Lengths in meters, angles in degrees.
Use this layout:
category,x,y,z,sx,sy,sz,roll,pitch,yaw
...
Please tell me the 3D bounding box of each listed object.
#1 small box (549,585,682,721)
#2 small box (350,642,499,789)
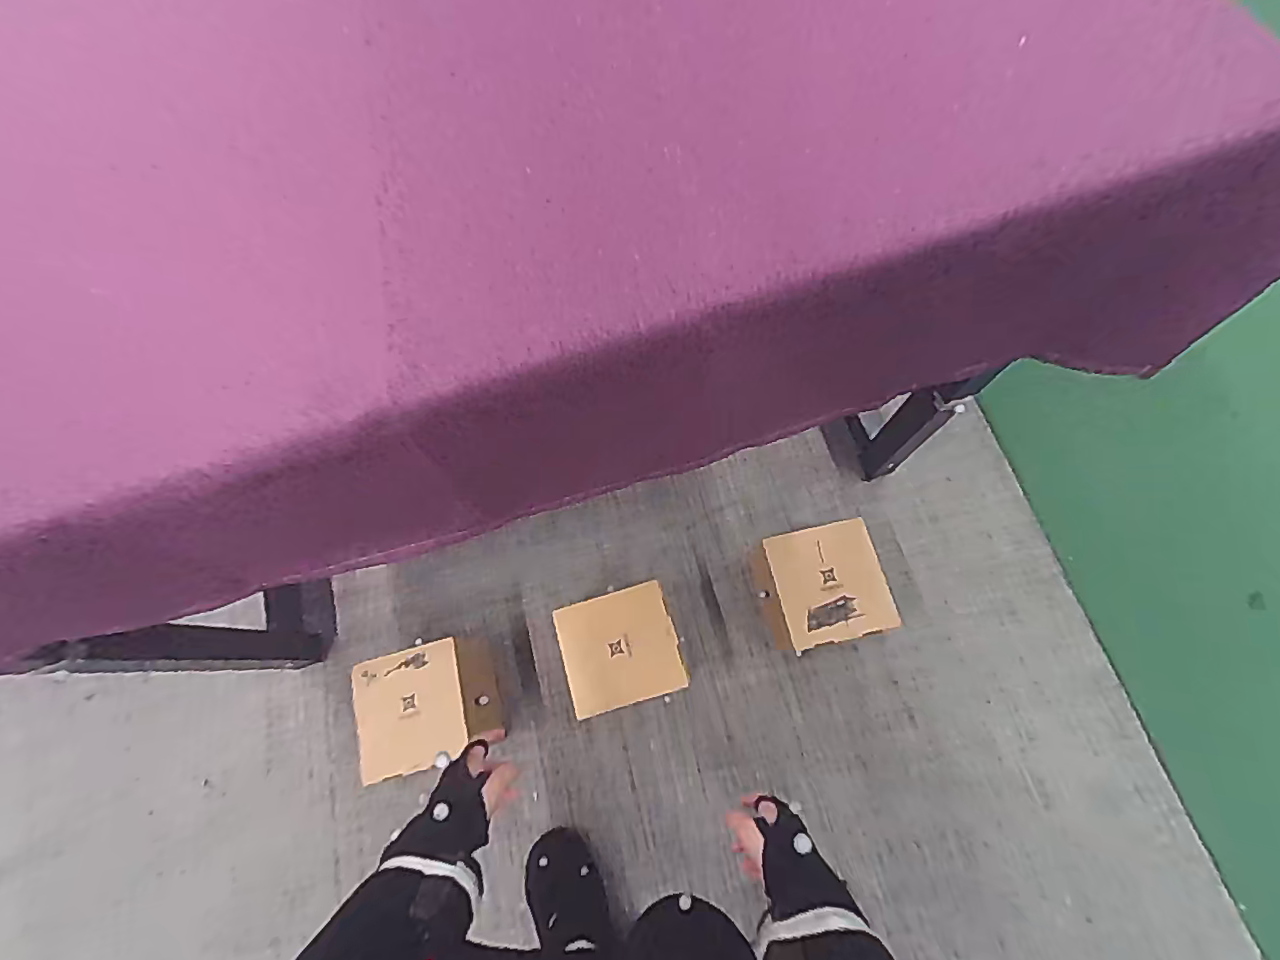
category,x,y,z,sx,sy,sz,roll,pitch,yaw
small box,-0.034,0.288,0.898,0.179,0.176,0.168,-16,71,-2
small box,-0.346,0.375,0.892,0.168,0.176,0.179,-16,72,-3
